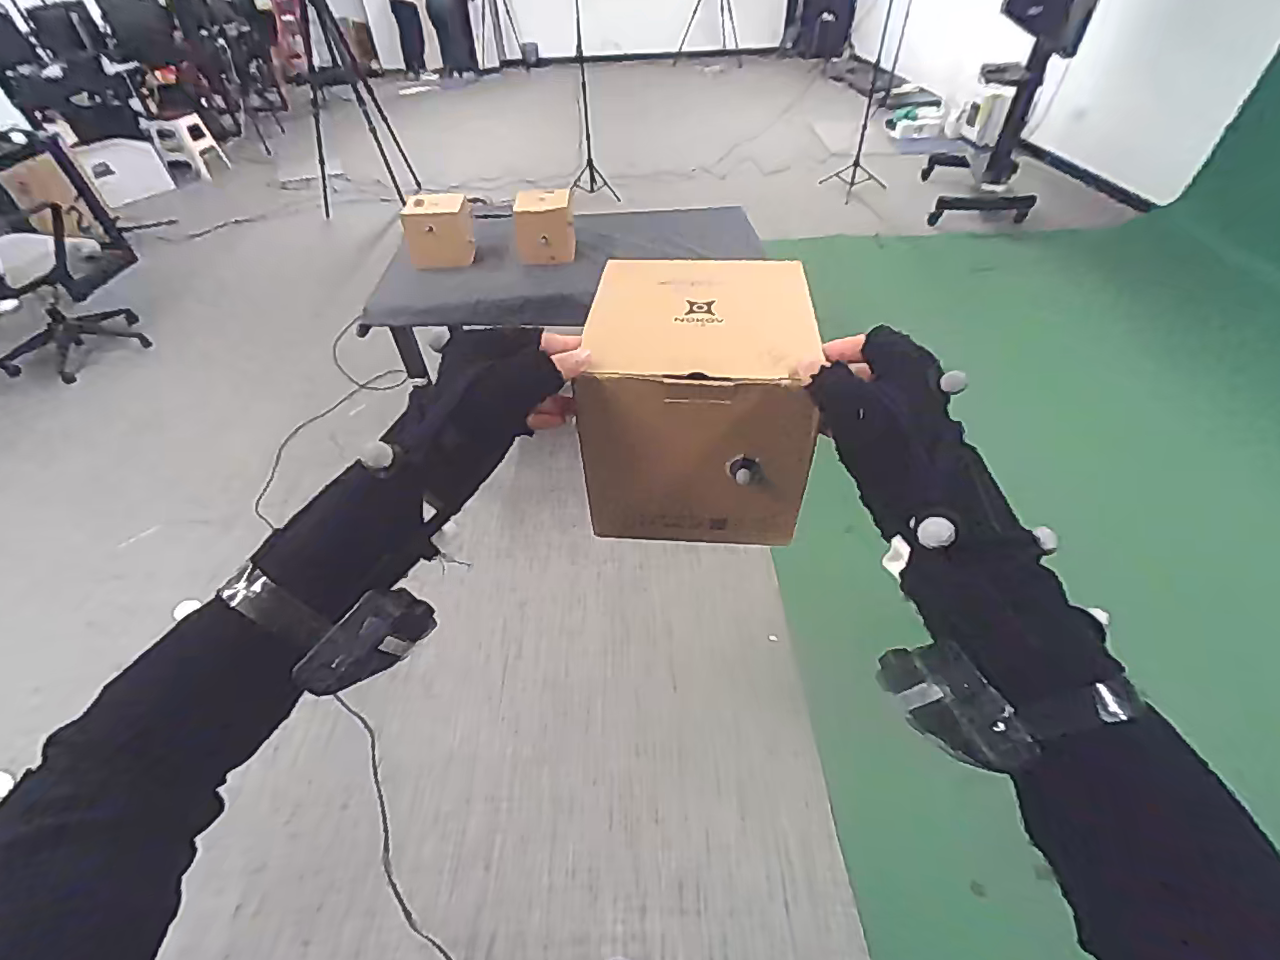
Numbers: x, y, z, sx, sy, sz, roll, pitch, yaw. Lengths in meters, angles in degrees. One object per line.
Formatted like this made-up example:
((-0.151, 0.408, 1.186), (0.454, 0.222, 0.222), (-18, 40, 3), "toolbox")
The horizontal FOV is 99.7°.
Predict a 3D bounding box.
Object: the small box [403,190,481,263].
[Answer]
((-0.619, -0.799, 1.710), (0.179, 0.176, 0.168), (-4, 46, -3), "small box")

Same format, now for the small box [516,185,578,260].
((-0.287, -0.810, 1.711), (0.168, 0.176, 0.179), (-3, 46, -1), "small box")
